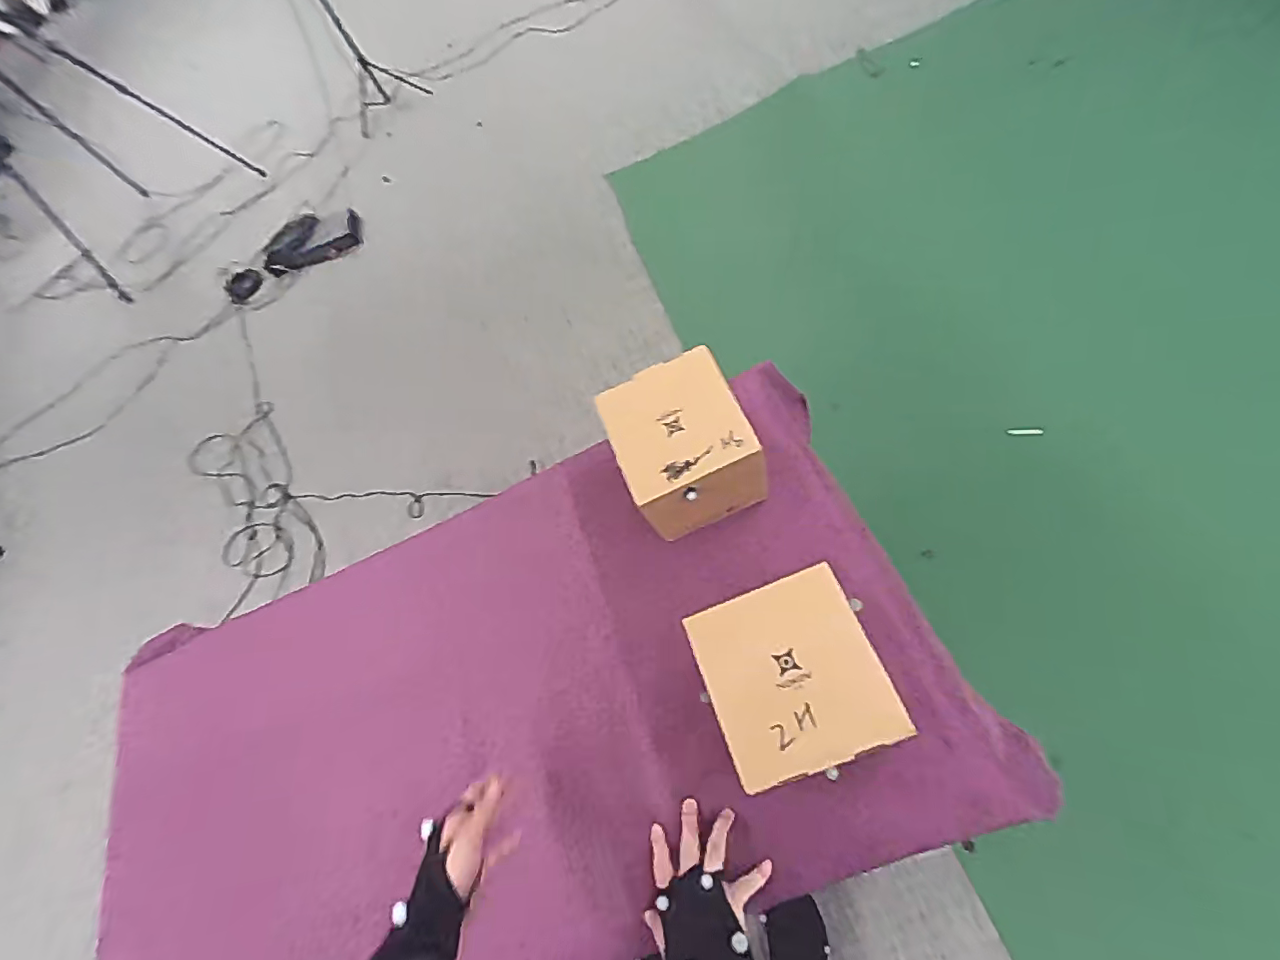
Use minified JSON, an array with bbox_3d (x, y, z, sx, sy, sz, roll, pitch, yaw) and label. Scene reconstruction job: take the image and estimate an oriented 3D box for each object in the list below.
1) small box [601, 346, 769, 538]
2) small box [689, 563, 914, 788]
[{"bbox_3d":[0.067,-0.044,0.754,0.168,0.176,0.179,-25,63,6],"label":"small box"},{"bbox_3d":[0.170,0.220,0.602,0.168,0.176,0.179,-23,60,7],"label":"small box"}]
